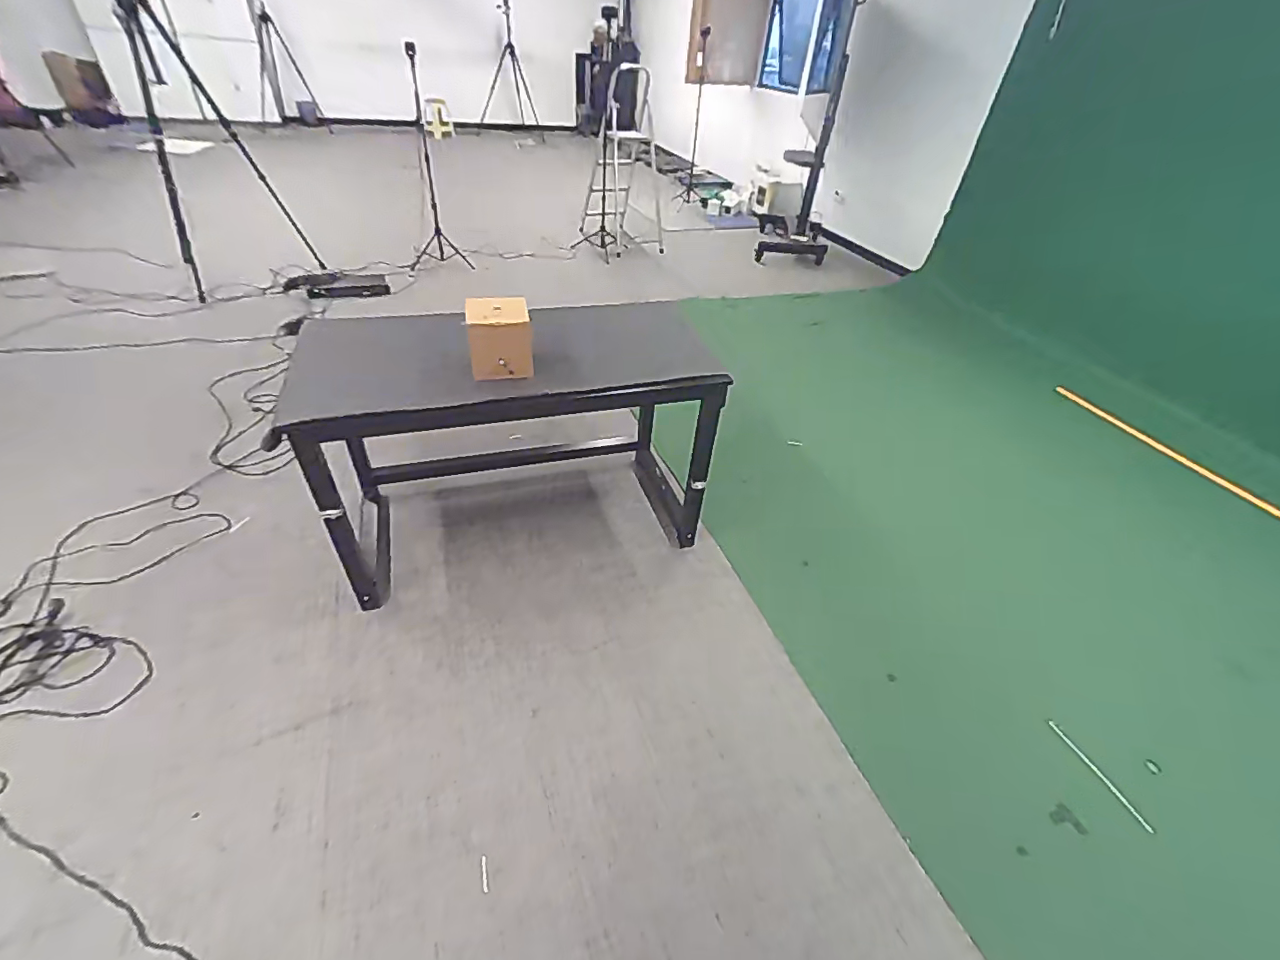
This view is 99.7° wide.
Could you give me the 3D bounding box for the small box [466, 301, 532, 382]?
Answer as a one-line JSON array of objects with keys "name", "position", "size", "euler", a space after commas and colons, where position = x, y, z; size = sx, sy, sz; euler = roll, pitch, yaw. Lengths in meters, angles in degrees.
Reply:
[{"name": "small box", "position": [-0.397, -0.392, 1.527], "size": [0.168, 0.176, 0.179], "euler": [-6, 40, -13]}]
